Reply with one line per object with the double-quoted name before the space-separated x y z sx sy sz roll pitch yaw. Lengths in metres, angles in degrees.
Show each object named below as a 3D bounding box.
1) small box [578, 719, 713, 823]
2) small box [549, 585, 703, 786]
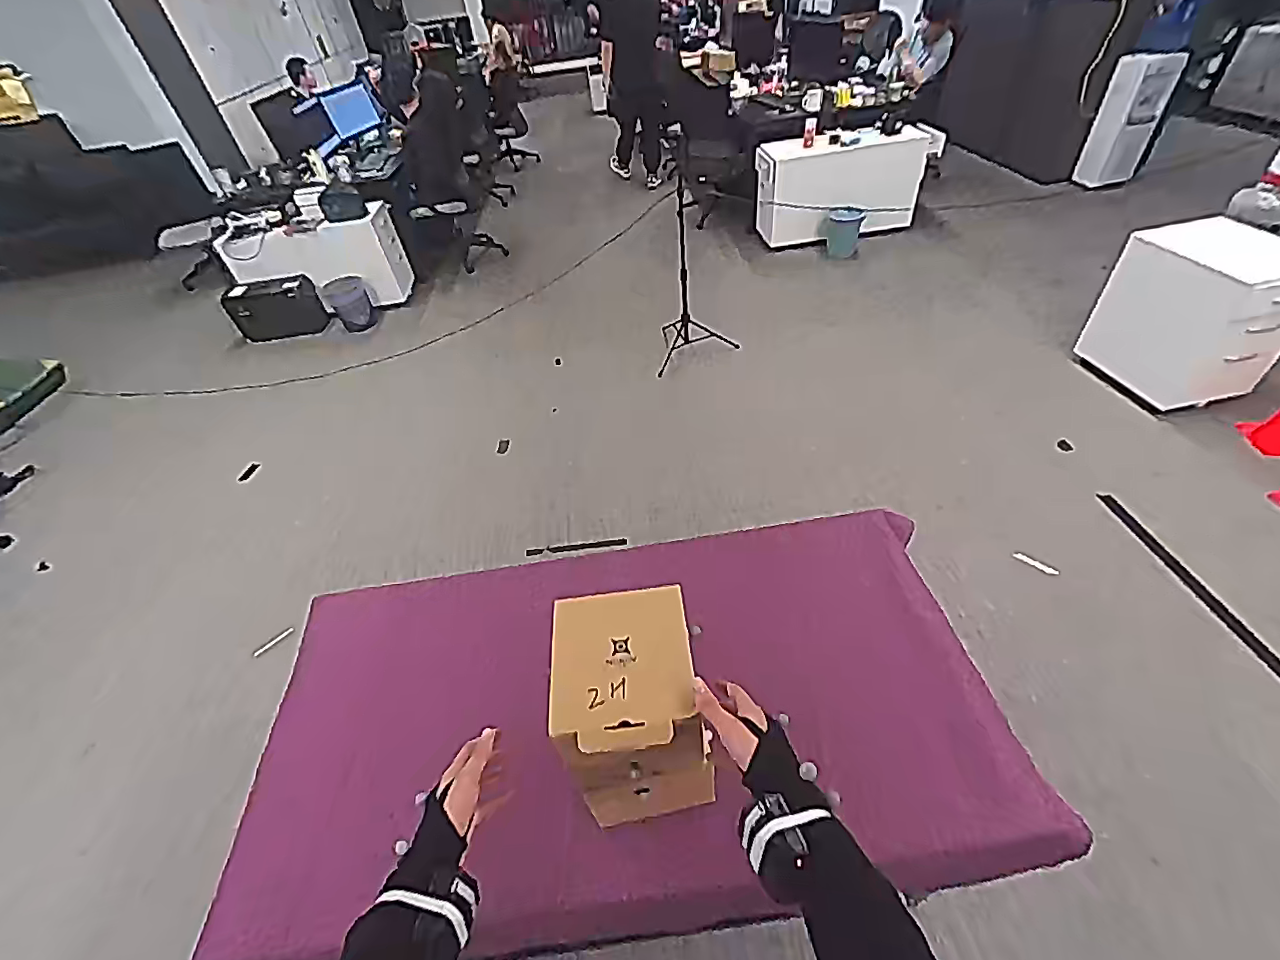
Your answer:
"small box" 0.005 0.380 0.797 0.179 0.176 0.168 -11 44 -3
"small box" -0.013 0.260 0.686 0.168 0.176 0.179 -7 44 2
